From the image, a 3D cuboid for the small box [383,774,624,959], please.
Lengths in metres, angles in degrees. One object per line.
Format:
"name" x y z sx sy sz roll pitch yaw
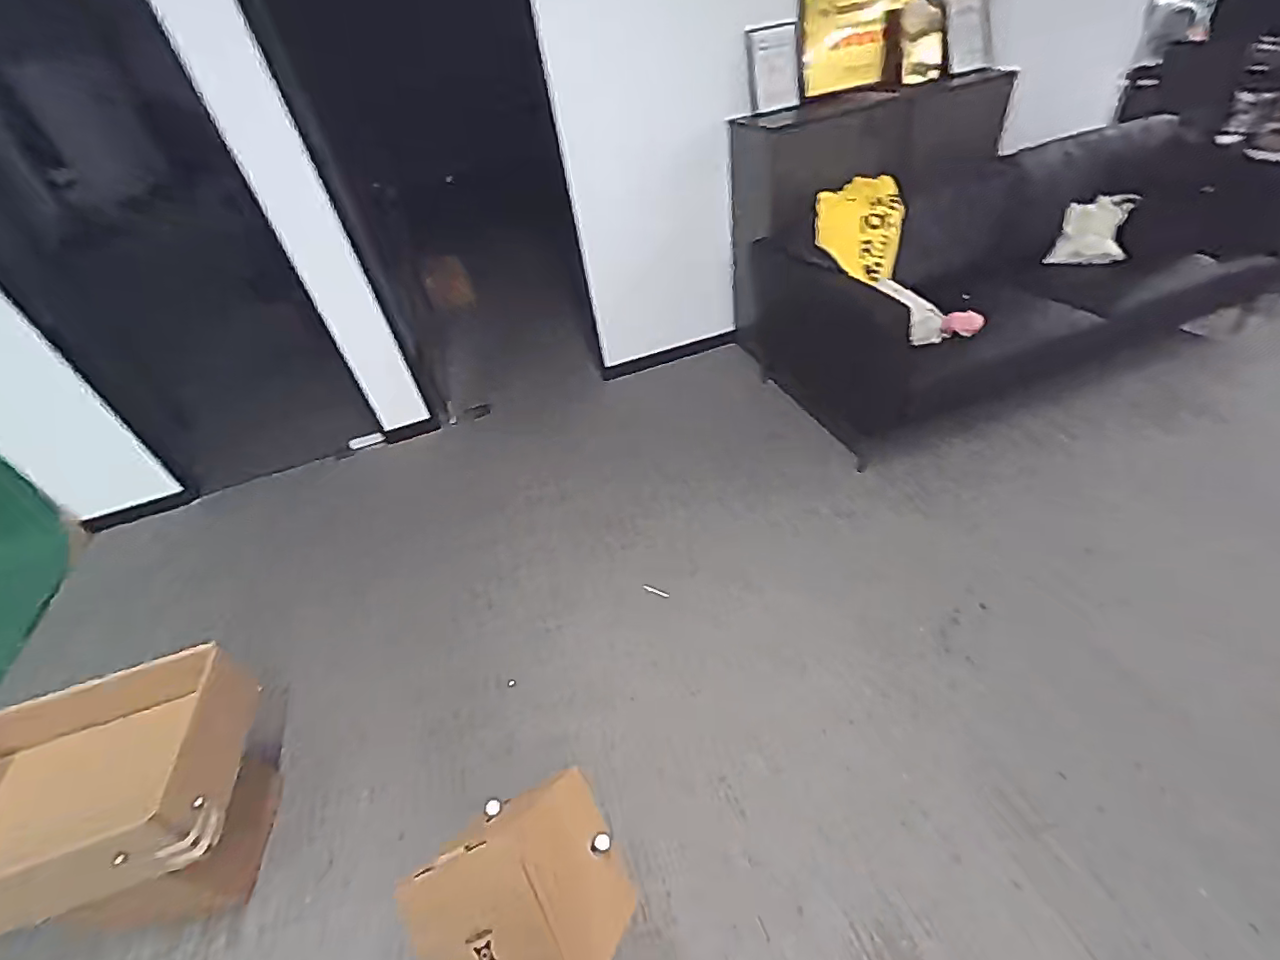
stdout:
"small box" -0.143 0.467 0.615 0.168 0.176 0.179 -33 77 11
